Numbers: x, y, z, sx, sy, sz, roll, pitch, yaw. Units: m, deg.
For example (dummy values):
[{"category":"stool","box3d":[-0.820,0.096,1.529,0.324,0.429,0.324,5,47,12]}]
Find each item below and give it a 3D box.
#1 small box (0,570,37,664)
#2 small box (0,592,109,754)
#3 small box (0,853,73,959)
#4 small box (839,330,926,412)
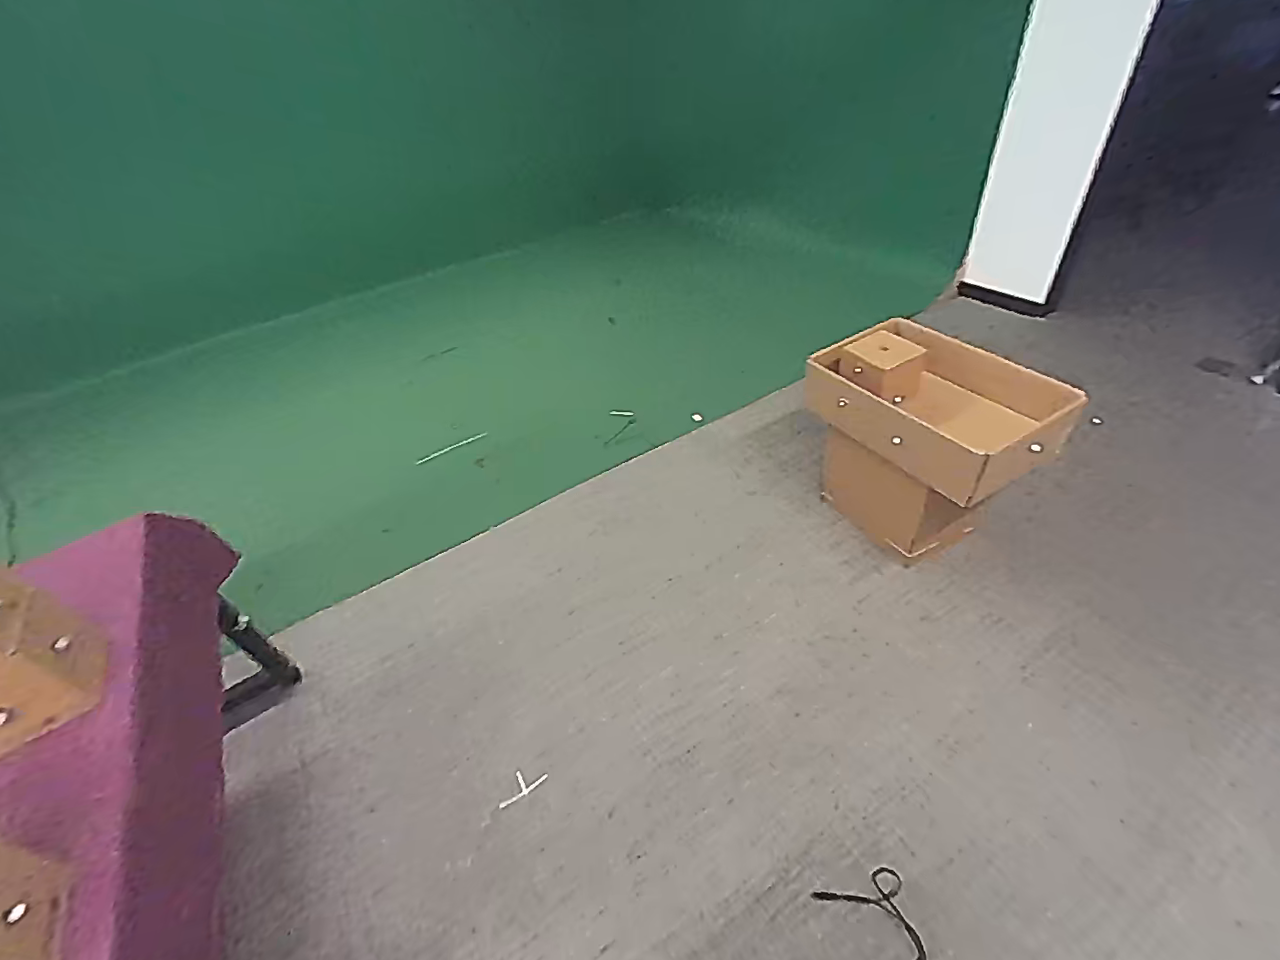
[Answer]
[{"category":"small box","box3d":[-1.086,0.217,0.803,0.179,0.176,0.168,-29,44,-20]},{"category":"small box","box3d":[-1.060,0.332,0.916,0.168,0.176,0.179,-30,46,-21]},{"category":"small box","box3d":[-0.817,0.557,0.614,0.179,0.176,0.168,-30,44,-20]},{"category":"small box","box3d":[0.738,-0.334,1.670,0.168,0.176,0.179,-26,42,-15]}]
